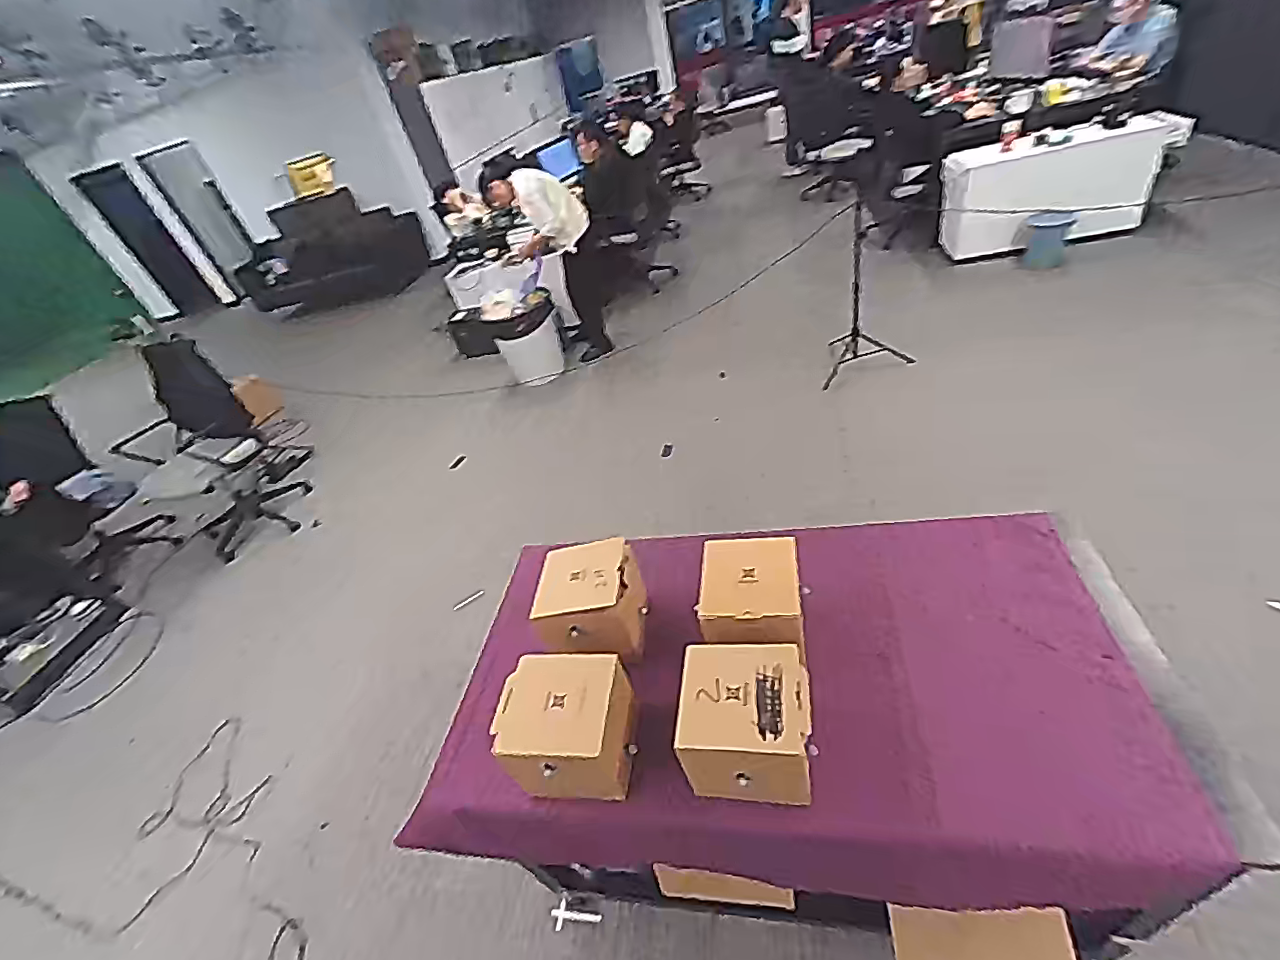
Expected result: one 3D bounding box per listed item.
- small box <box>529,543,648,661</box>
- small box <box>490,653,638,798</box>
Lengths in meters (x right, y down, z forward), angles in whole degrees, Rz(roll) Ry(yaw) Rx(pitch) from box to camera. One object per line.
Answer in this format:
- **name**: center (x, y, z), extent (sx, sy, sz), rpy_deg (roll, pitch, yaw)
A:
- **small box**: center (-0.093, 0.247, 1.078), extent (0.179, 0.176, 0.168), rpy_deg (-6, 40, 13)
- **small box**: center (-0.114, 0.405, 0.896), extent (0.179, 0.176, 0.168), rpy_deg (-4, 40, 14)
